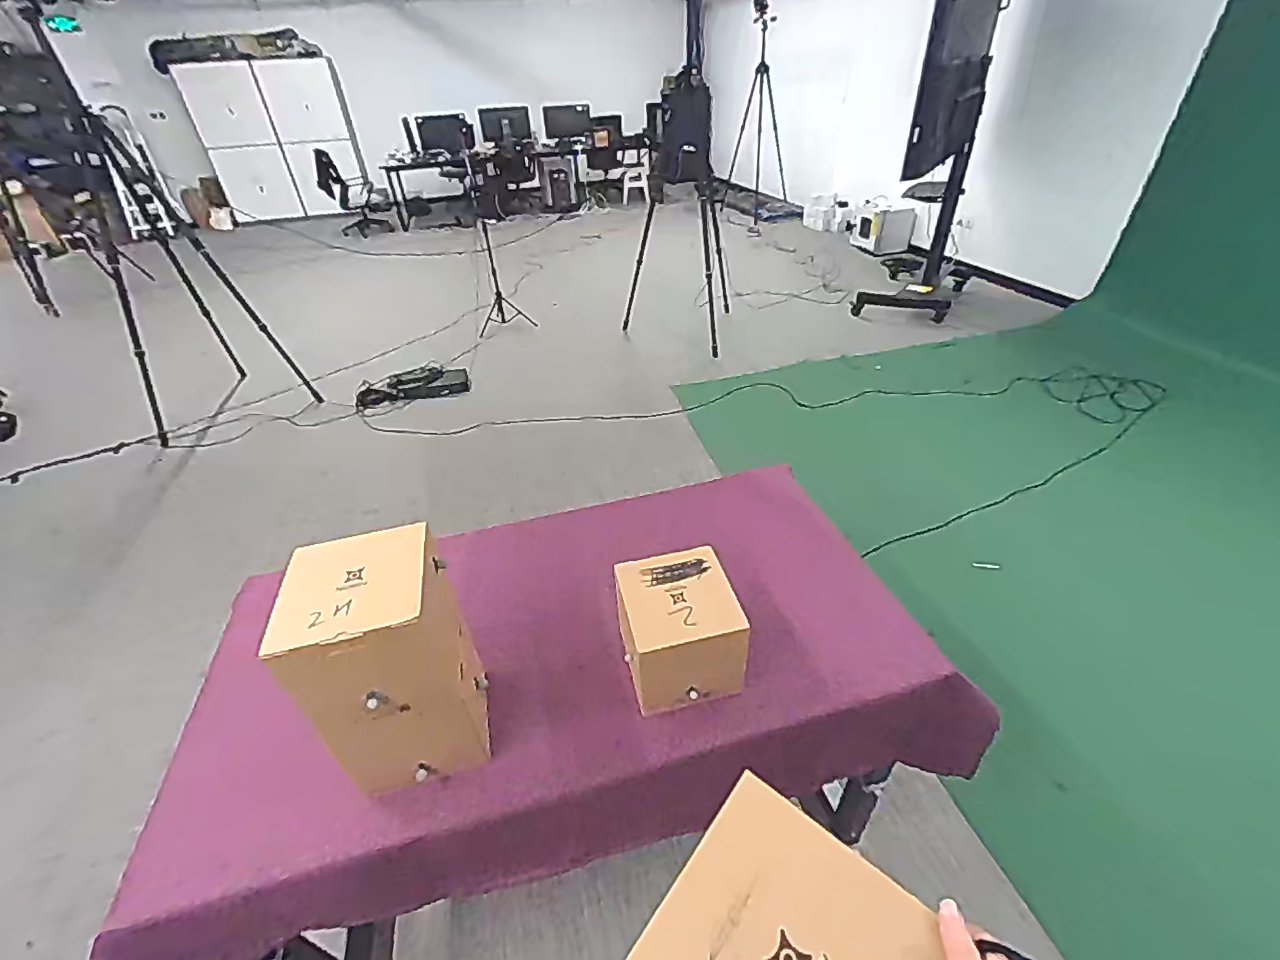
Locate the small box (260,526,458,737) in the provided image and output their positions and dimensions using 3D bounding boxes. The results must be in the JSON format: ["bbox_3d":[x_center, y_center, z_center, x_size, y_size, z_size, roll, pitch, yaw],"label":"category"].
[{"bbox_3d":[-0.338,0.189,0.692,0.168,0.176,0.179,-12,38,-10],"label":"small box"}]

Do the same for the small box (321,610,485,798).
[{"bbox_3d":[-0.328,0.324,0.788,0.179,0.176,0.168,-12,37,-12],"label":"small box"}]
